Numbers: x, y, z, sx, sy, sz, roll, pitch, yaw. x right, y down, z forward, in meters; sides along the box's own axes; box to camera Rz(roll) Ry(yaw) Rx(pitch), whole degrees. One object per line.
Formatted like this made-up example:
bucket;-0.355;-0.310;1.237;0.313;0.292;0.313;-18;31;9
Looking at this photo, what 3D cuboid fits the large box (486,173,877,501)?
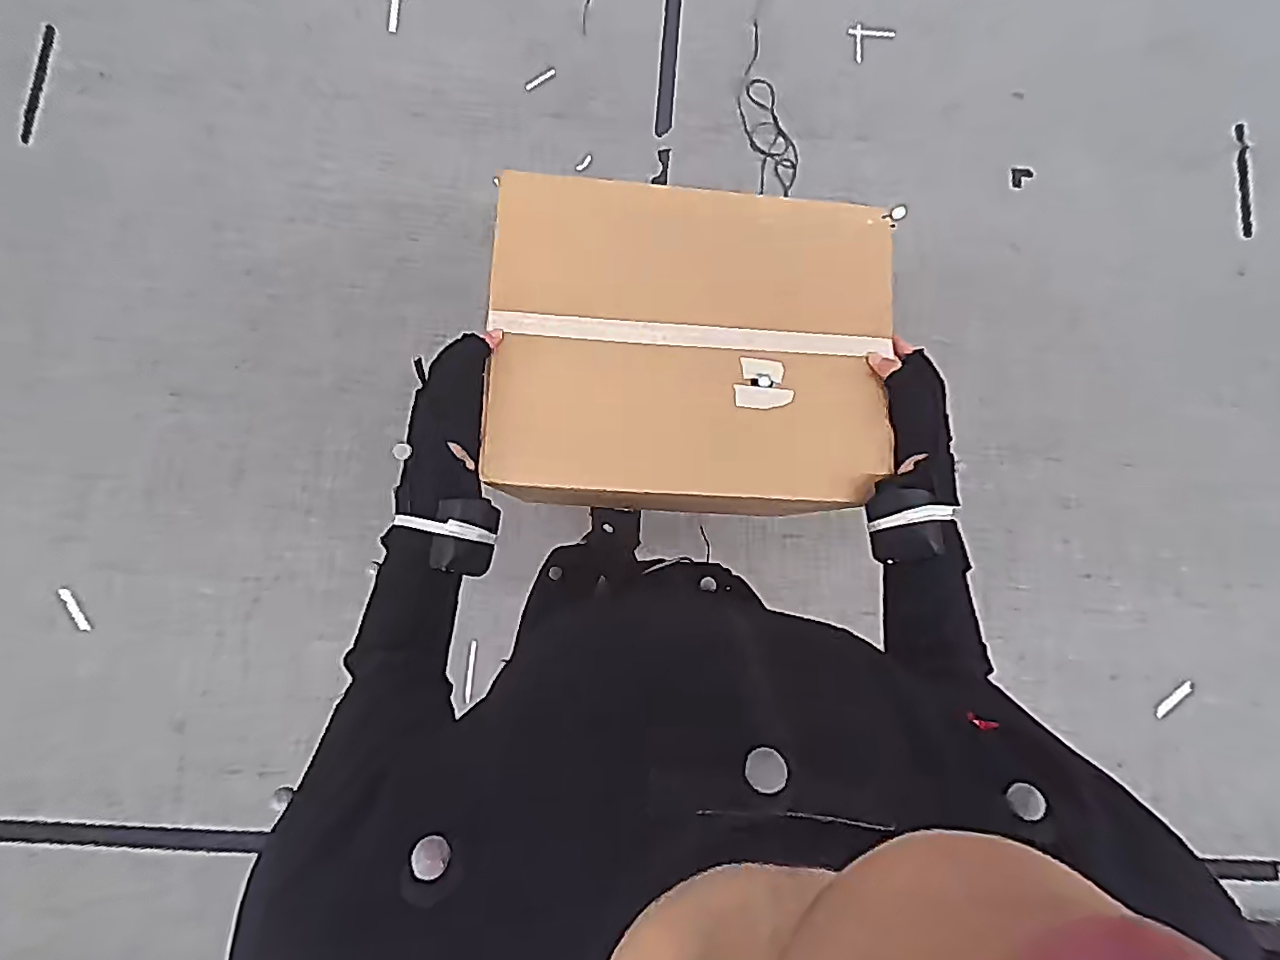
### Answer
large box;0.036;-0.140;0.700;0.408;0.320;0.320;3;85;-5
